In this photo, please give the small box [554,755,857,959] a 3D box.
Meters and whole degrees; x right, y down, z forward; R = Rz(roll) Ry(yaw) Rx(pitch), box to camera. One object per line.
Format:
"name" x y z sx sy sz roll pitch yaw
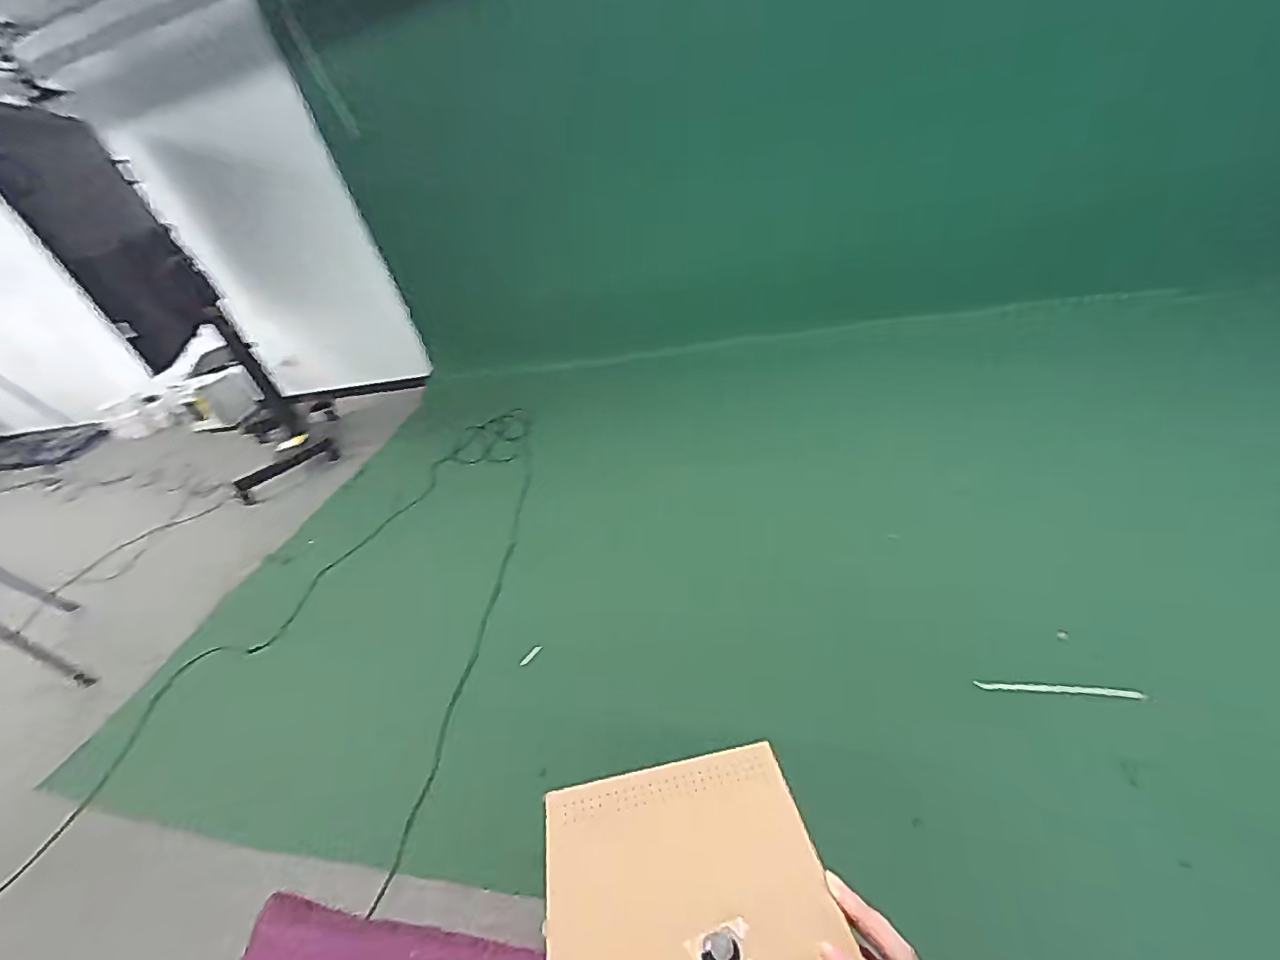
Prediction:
"small box" 0.040 0.323 0.374 0.179 0.168 0.176 -10 25 -4
